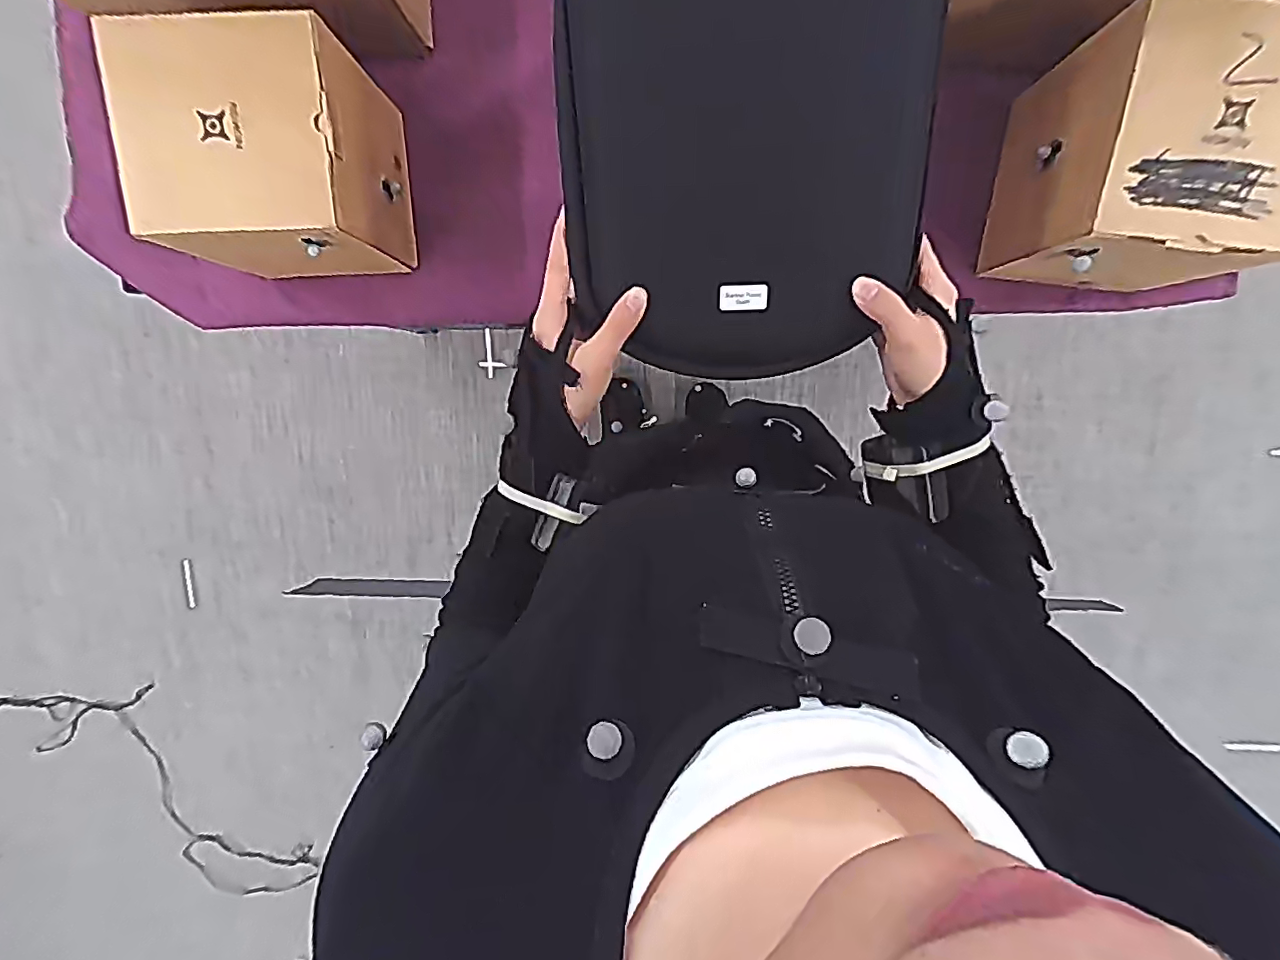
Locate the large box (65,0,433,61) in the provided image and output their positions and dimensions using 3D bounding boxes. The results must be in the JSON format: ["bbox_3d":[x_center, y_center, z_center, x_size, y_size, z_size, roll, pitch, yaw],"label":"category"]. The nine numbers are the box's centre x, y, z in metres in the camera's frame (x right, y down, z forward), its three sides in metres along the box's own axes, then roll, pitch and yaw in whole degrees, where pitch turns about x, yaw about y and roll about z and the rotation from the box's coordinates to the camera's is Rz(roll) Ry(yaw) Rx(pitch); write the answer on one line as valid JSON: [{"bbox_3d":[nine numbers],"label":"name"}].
[{"bbox_3d":[-0.375,-0.618,0.400,0.320,0.320,0.408,-1,103,1],"label":"large box"}]
